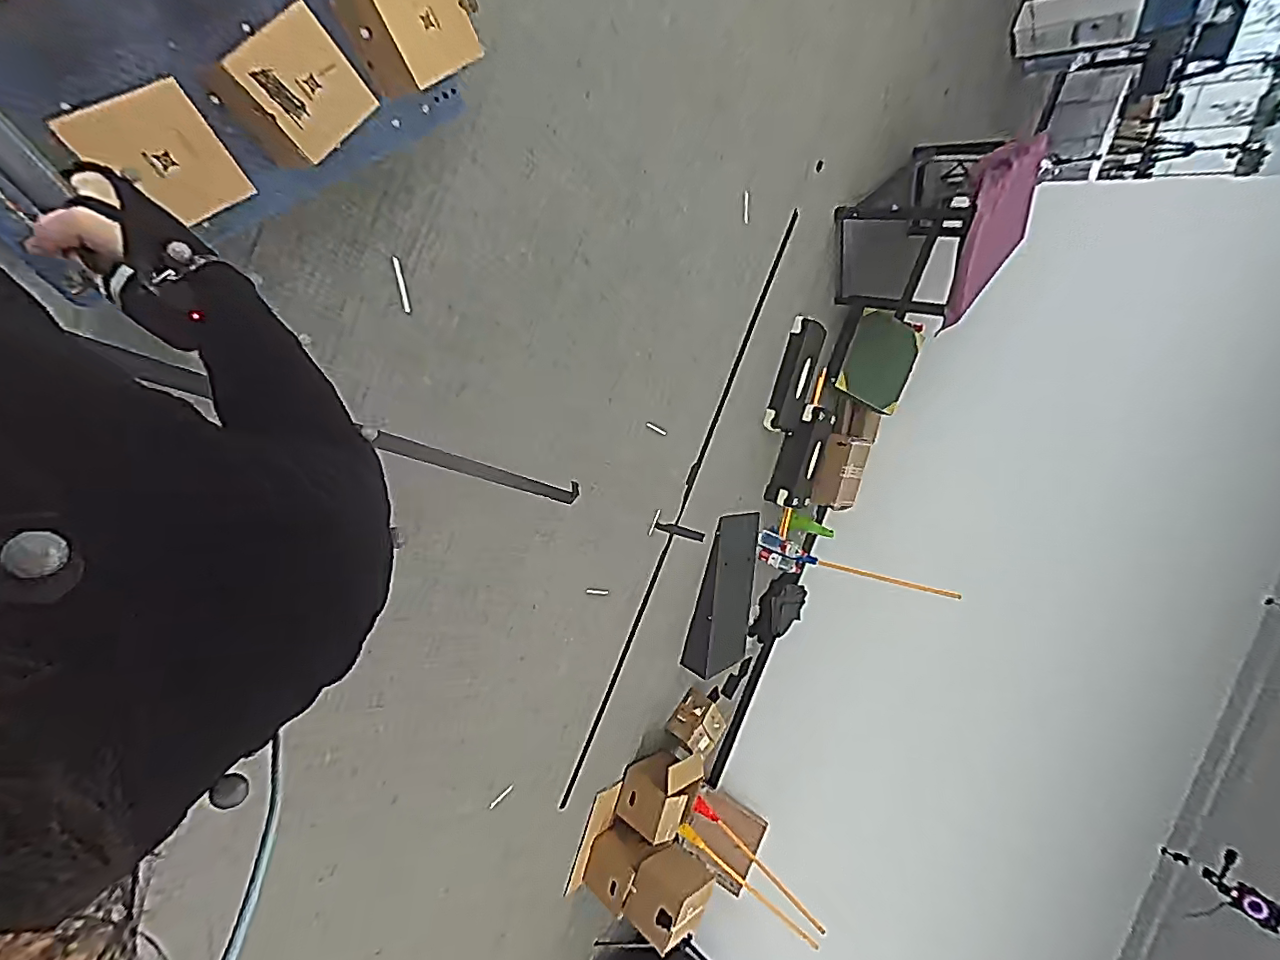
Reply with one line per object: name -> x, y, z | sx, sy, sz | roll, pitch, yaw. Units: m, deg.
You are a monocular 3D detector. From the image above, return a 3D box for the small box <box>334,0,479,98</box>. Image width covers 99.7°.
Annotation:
small box -> -0.459, -0.876, 1.053 | 0.179, 0.176, 0.168 | -50, 139, -22

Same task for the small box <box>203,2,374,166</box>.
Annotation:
small box -> -0.621, -0.681, 0.951 | 0.179, 0.176, 0.168 | -57, 142, -16

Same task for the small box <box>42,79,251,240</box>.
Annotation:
small box -> -0.776, -0.499, 0.854 | 0.179, 0.176, 0.168 | -48, 140, -25
